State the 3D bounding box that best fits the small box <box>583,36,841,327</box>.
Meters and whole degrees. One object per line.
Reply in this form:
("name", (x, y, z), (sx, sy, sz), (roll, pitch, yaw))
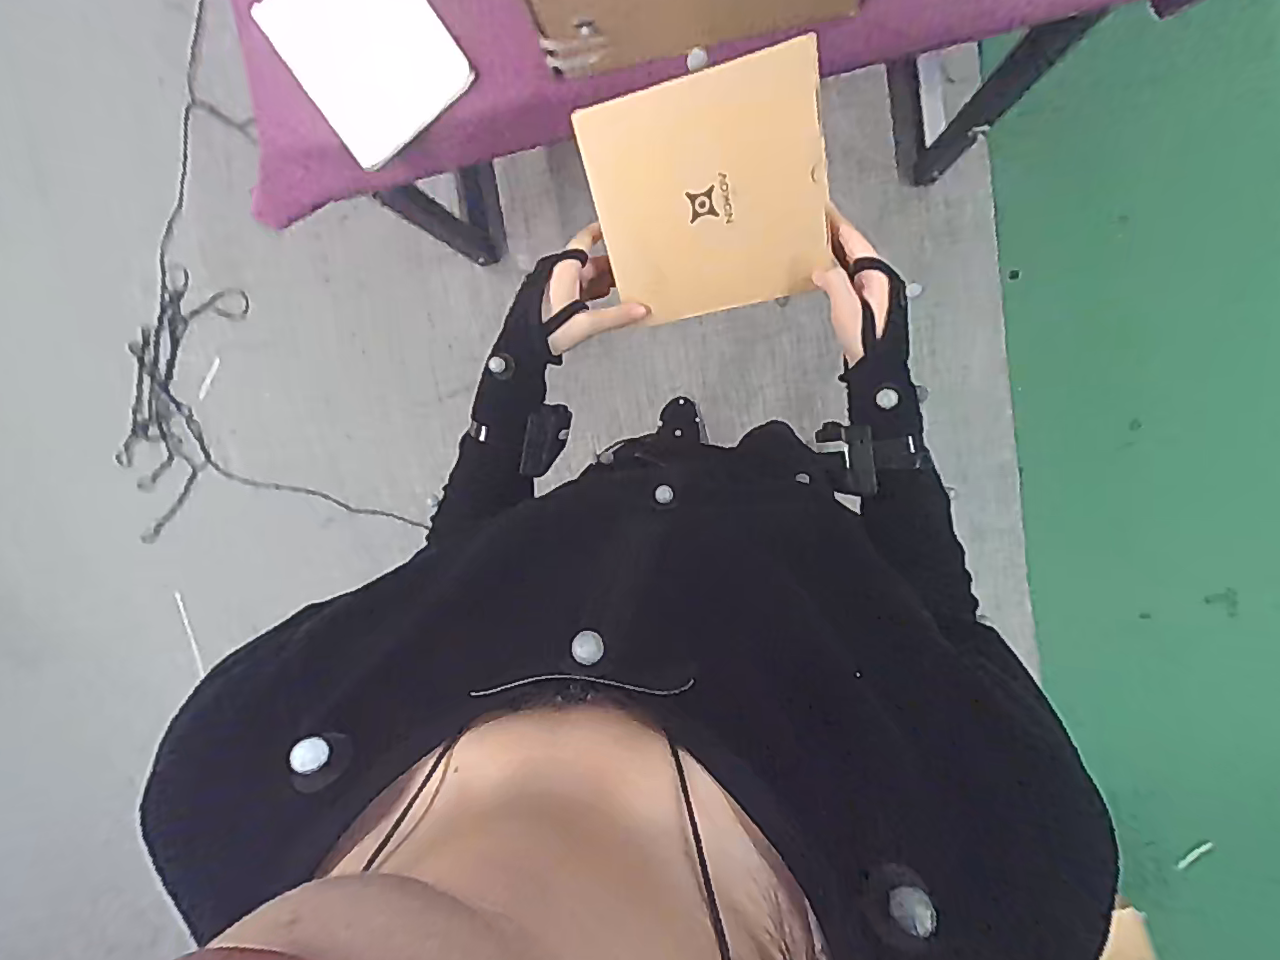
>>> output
("small box", (0.071, -0.251, 0.480), (0.179, 0.176, 0.168), (-8, 119, 14))
